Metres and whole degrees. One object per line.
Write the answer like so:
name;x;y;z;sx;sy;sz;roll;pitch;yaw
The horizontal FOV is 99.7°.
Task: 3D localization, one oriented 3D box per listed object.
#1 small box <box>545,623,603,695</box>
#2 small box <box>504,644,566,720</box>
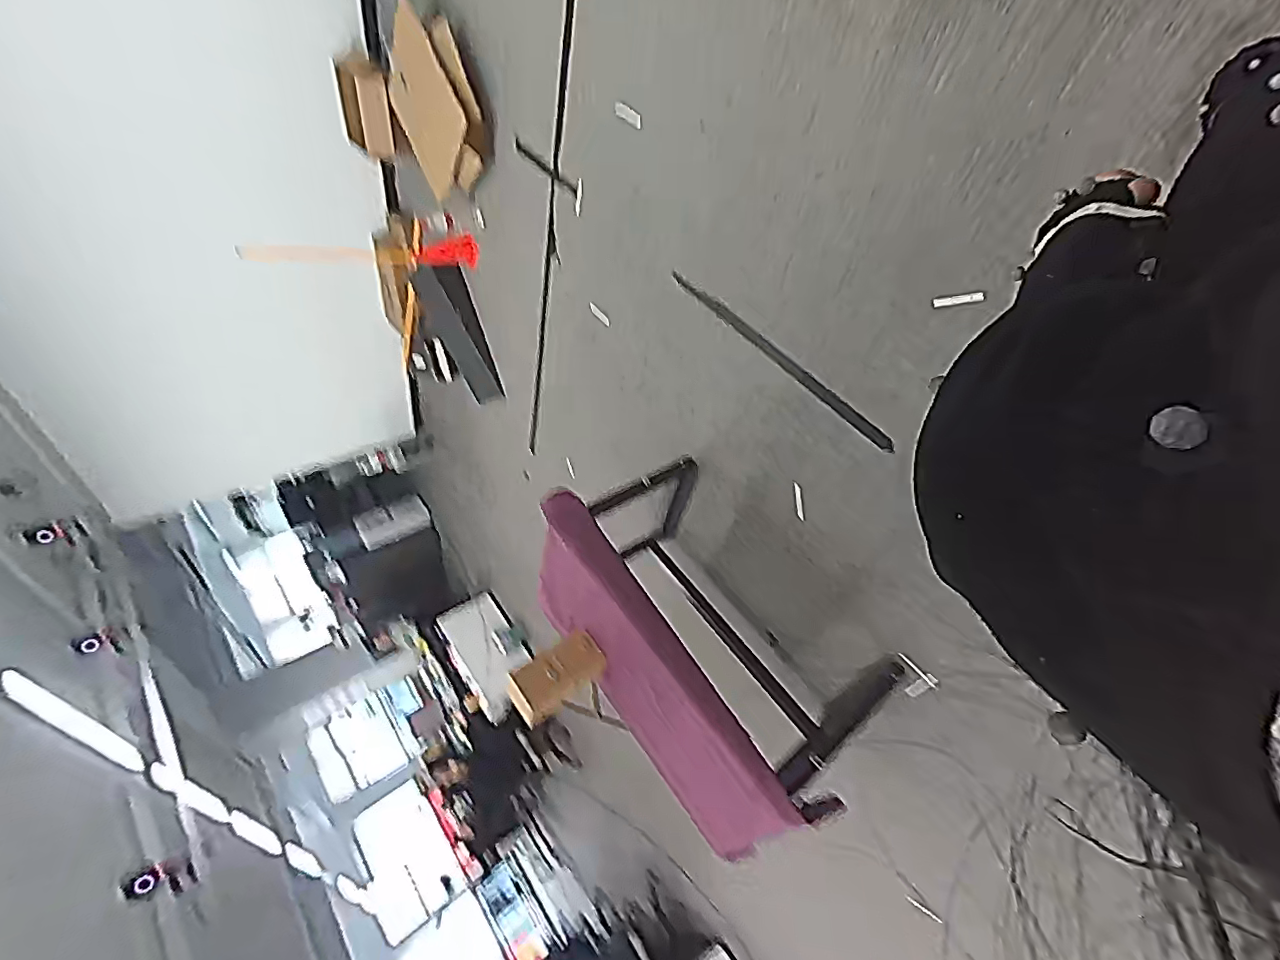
small box;-0.263;0.690;2.091;0.168;0.176;0.179;47;142;23
small box;-0.390;0.747;2.008;0.168;0.176;0.179;45;141;25
